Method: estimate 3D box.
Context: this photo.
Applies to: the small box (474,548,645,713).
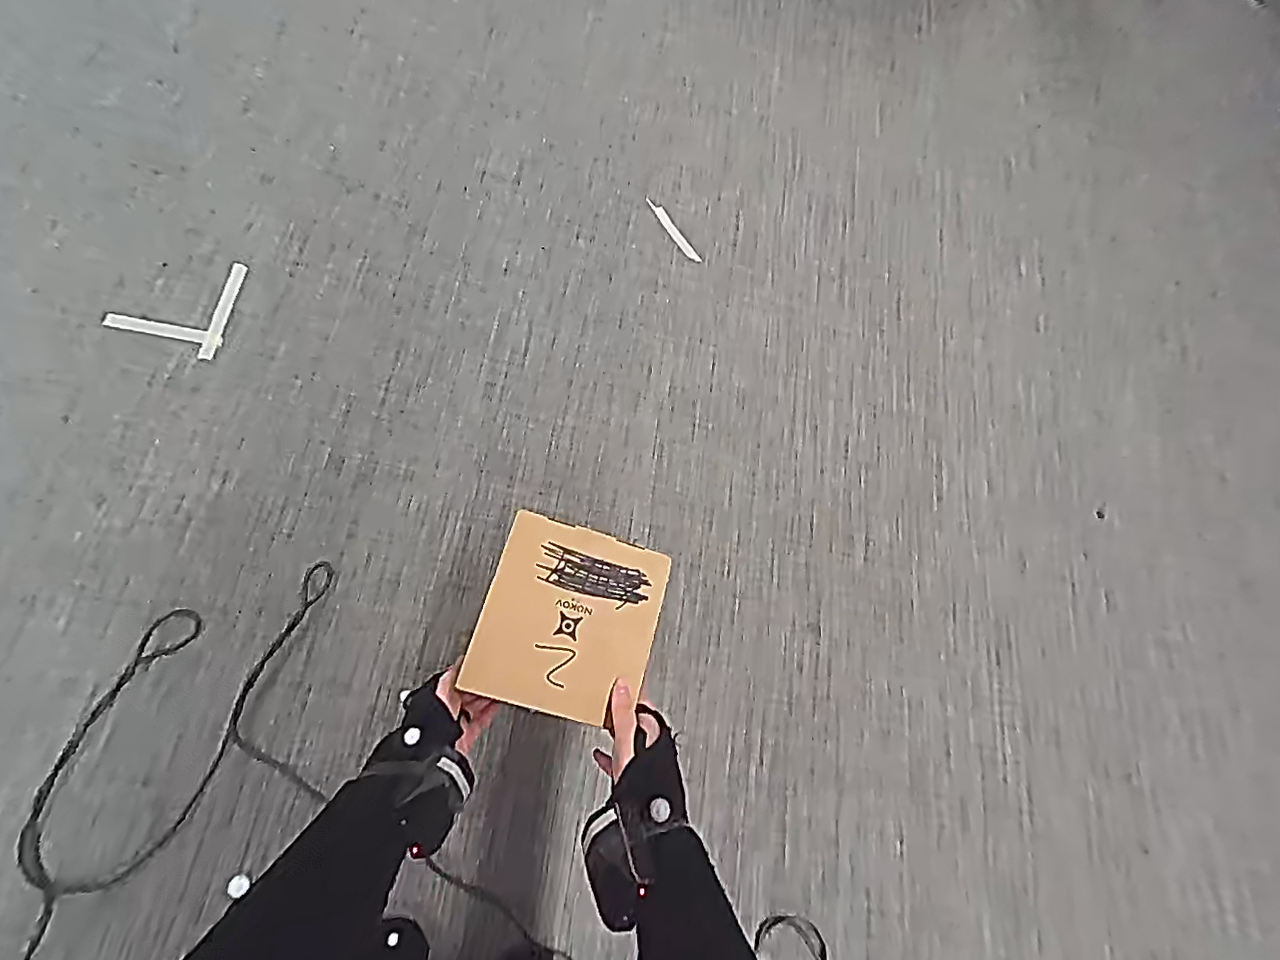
[{"bbox_3d":[-0.111,0.208,0.745,0.179,0.176,0.168,17,70,-7],"label":"small box"}]
